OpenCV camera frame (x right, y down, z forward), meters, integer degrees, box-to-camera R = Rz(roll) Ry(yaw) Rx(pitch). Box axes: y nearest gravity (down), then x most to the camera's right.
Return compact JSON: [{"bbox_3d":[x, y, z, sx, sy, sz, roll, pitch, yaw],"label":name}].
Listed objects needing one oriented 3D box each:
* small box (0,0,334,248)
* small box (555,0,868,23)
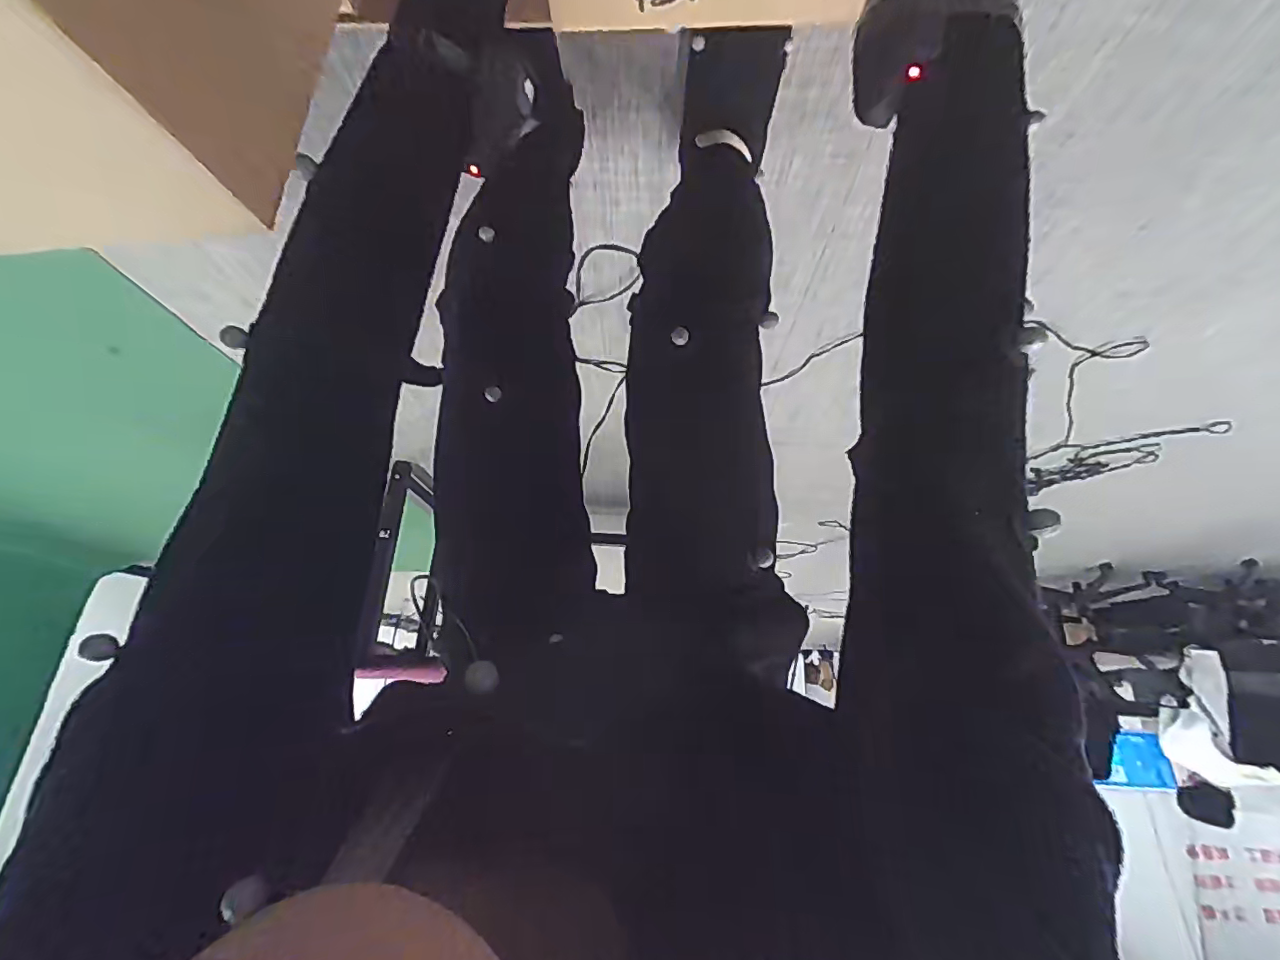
[{"bbox_3d":[-0.238,-0.211,0.187,0.179,0.176,0.168,0,162,9],"label":"small box"},{"bbox_3d":[0.037,-0.352,0.236,0.168,0.176,0.179,2,161,4],"label":"small box"}]
